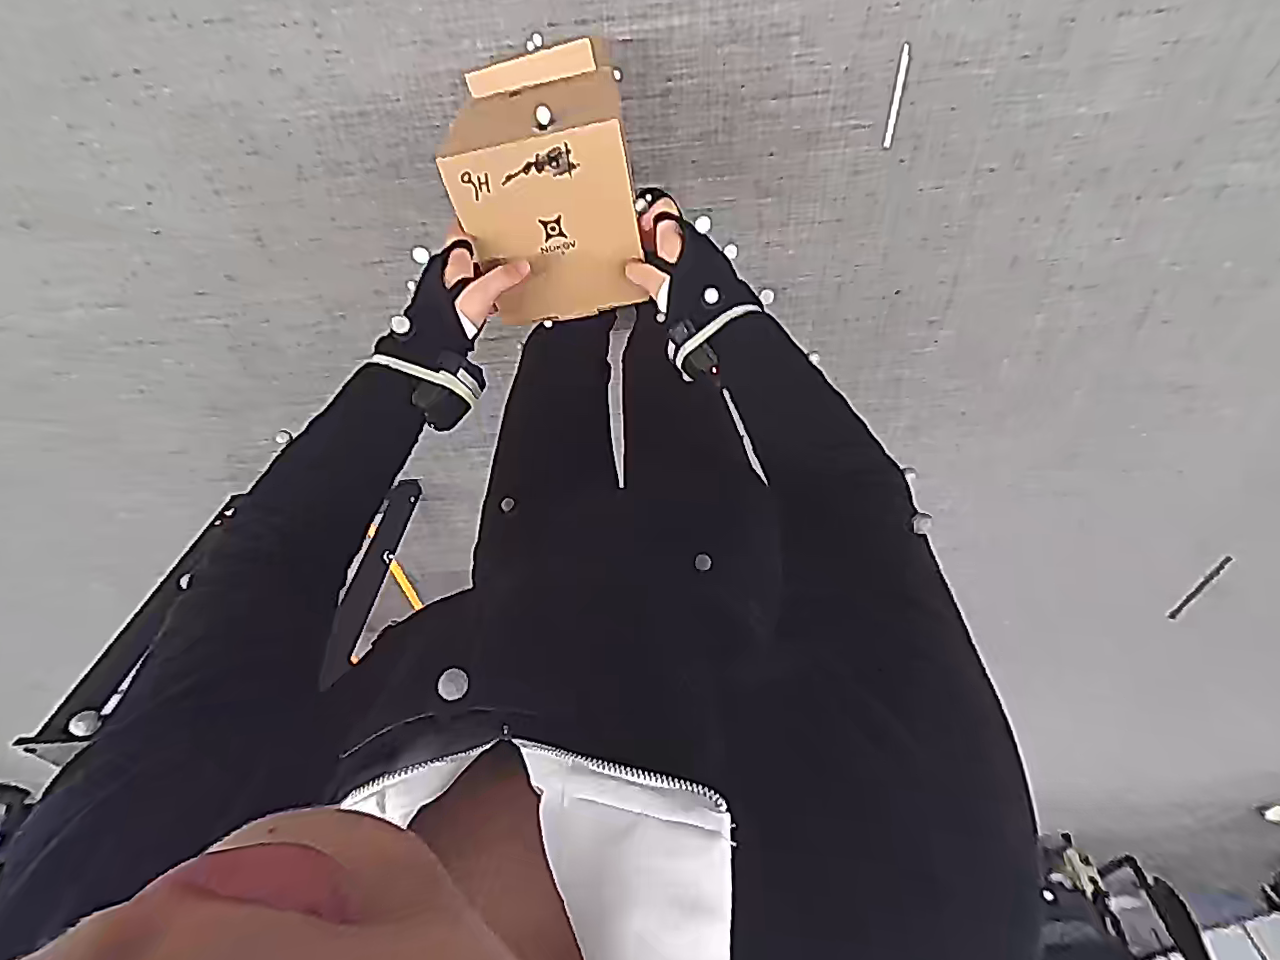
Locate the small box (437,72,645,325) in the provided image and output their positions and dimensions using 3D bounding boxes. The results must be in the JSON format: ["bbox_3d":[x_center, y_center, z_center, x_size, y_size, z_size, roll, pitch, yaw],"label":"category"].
[{"bbox_3d":[-0.089,-0.298,0.582,0.168,0.176,0.179,-9,139,5],"label":"small box"}]

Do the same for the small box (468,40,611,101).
[{"bbox_3d":[-0.120,-0.506,0.778,0.168,0.176,0.179,-9,131,9],"label":"small box"}]
